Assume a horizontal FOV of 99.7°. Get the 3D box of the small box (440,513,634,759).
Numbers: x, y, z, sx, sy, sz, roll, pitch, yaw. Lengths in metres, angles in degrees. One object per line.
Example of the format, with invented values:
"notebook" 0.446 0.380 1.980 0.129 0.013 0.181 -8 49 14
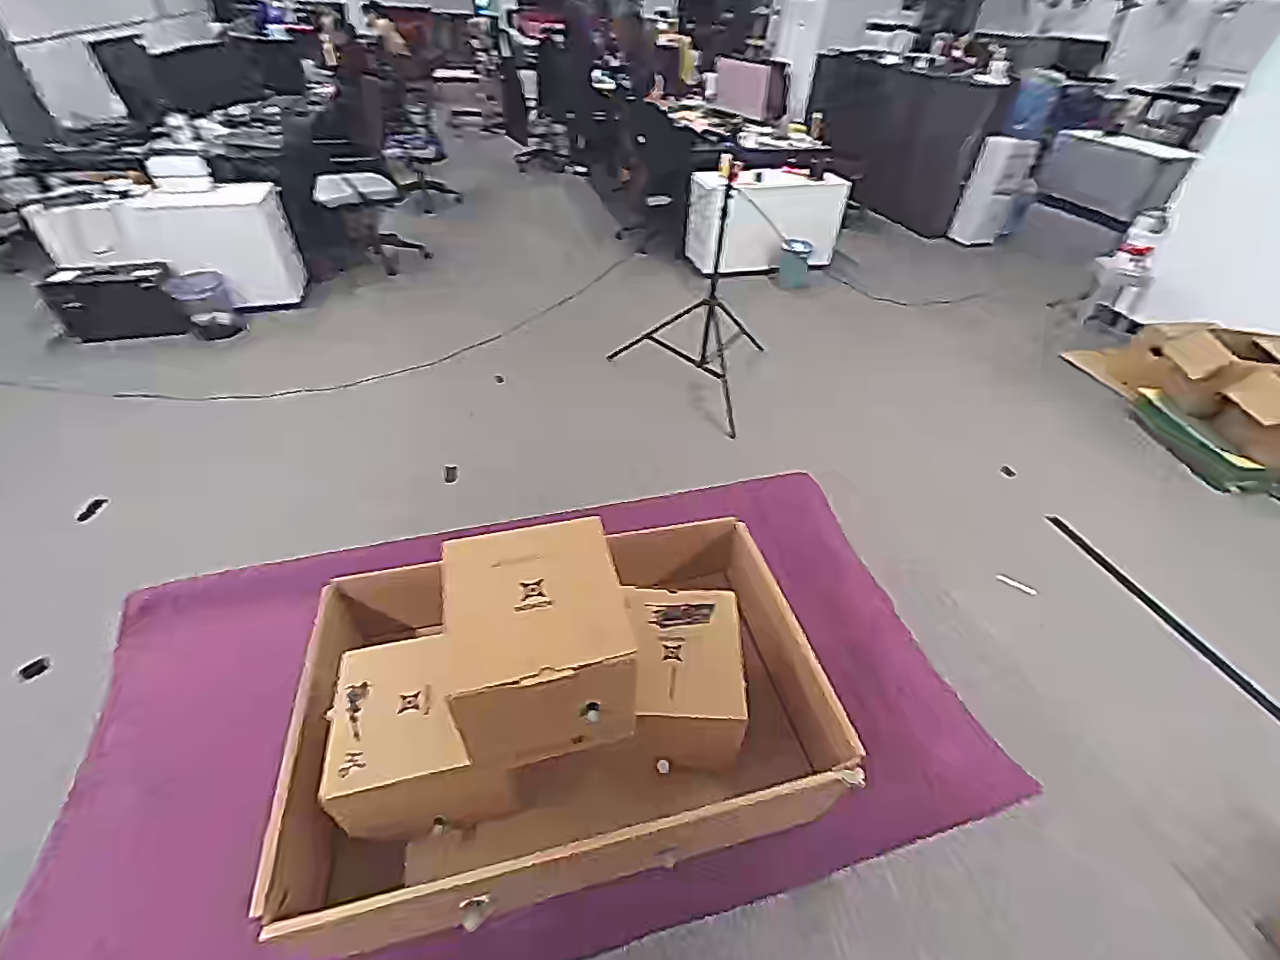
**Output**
"small box" -0.107 0.164 0.563 0.168 0.176 0.179 -9 42 -14
